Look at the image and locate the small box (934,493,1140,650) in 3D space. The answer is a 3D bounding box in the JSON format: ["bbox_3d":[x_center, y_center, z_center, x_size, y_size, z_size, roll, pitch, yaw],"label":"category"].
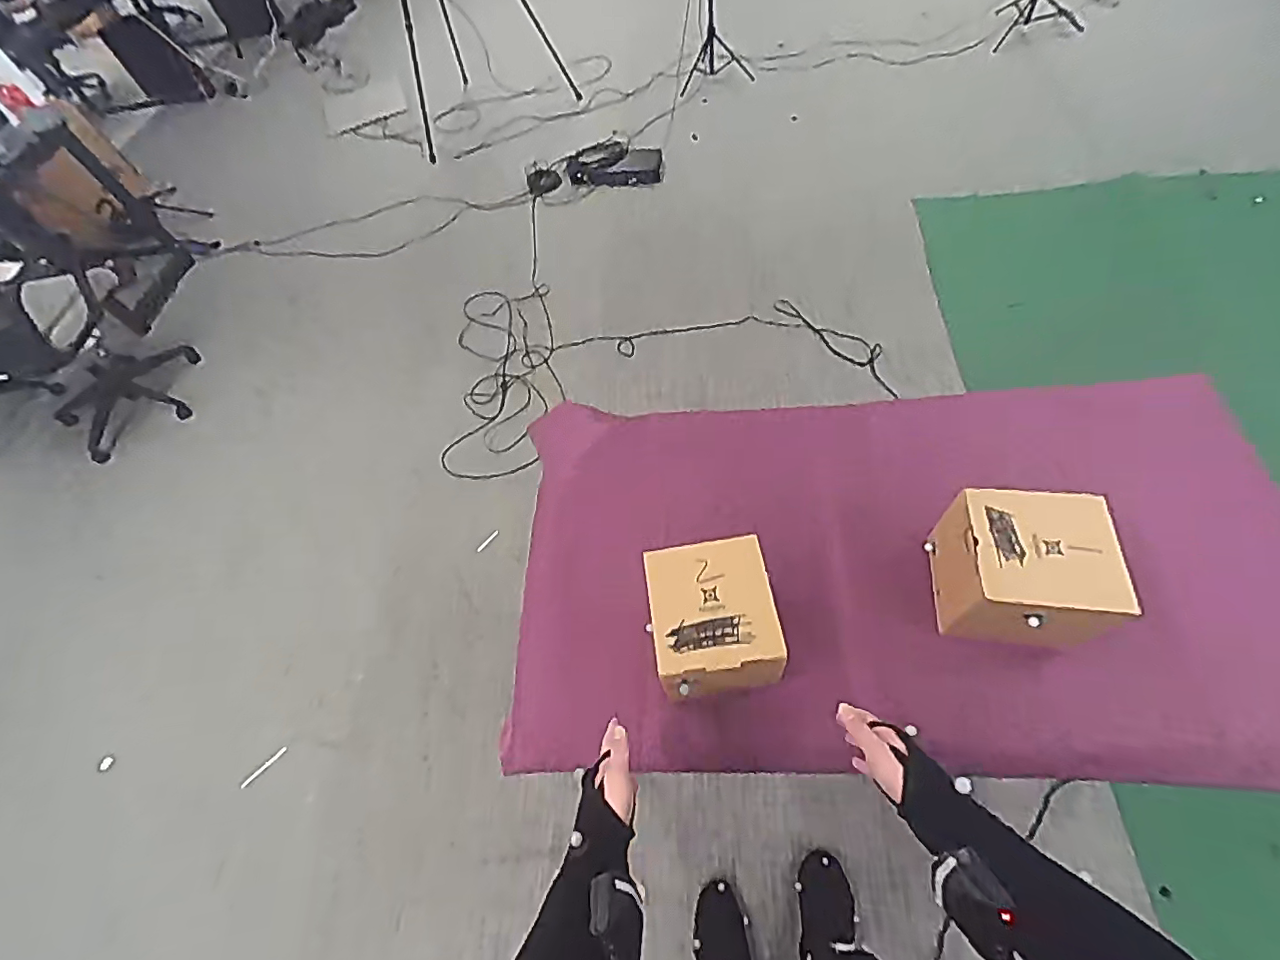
[{"bbox_3d":[0.537,0.134,0.769,0.179,0.176,0.168,4,60,10],"label":"small box"}]
